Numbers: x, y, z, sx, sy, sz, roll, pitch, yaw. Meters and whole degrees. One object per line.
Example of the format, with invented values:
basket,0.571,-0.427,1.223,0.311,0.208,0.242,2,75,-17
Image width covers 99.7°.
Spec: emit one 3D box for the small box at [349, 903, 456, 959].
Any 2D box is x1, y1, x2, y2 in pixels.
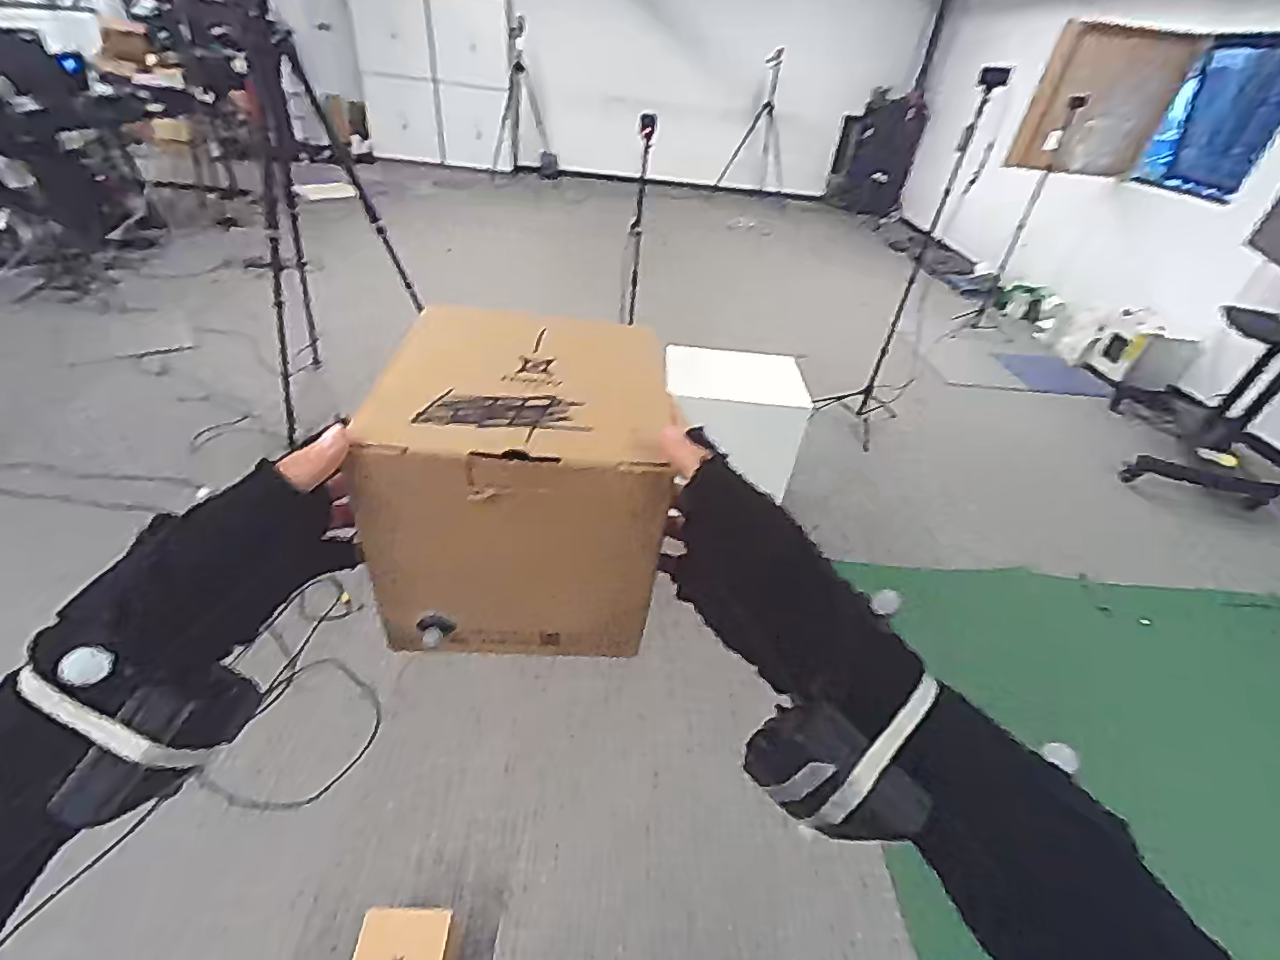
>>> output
small box,-0.461,0.950,1.041,0.168,0.176,0.179,4,38,-3
